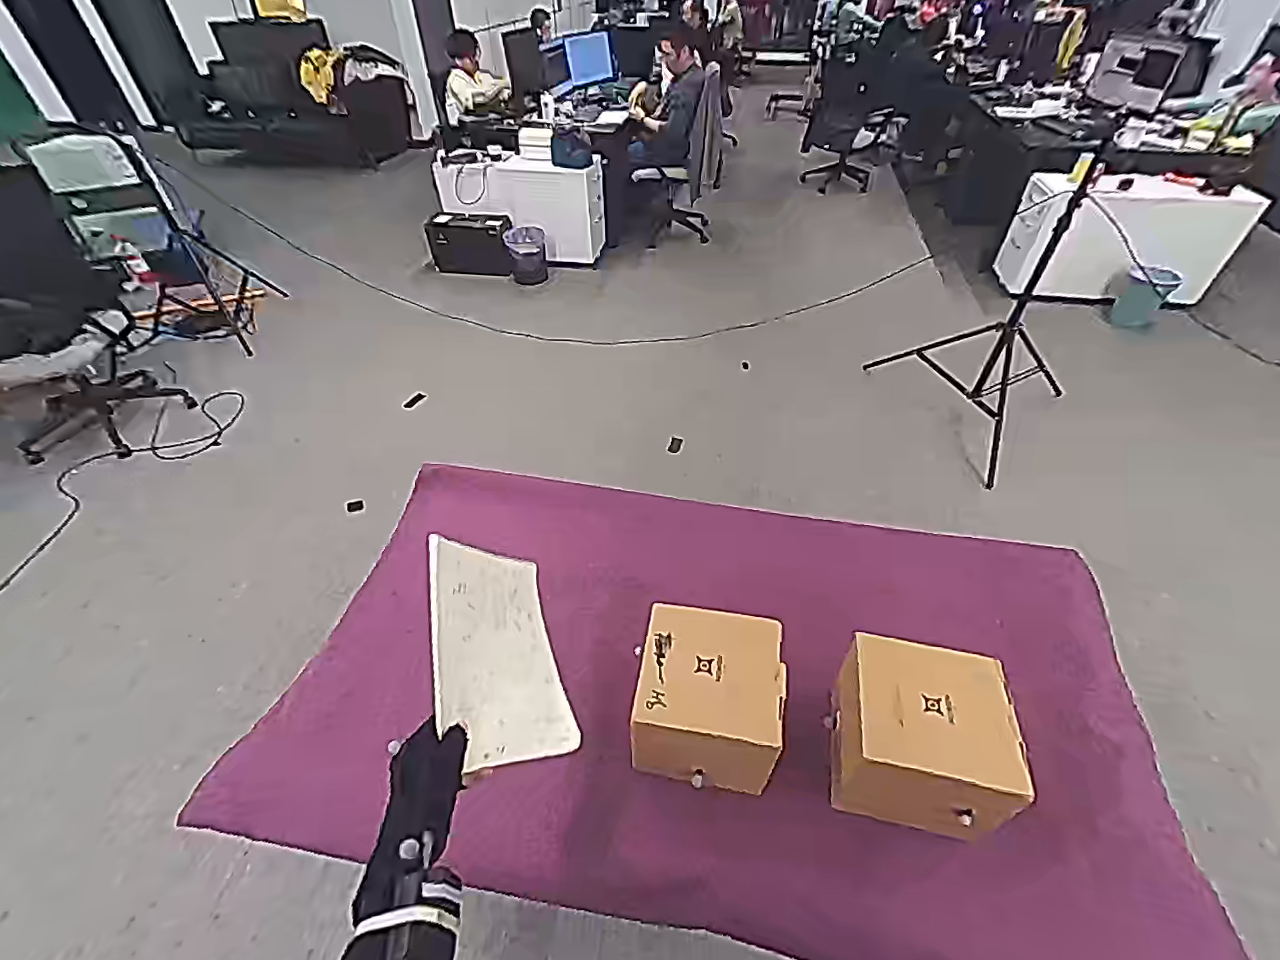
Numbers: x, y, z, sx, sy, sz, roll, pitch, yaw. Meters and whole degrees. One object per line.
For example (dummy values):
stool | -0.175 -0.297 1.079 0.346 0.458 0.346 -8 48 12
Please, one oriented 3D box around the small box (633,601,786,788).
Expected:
small box | 0.091 0.290 0.725 0.179 0.176 0.168 7 43 8

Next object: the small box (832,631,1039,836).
small box | 0.352 0.322 0.685 0.179 0.176 0.168 8 42 12
